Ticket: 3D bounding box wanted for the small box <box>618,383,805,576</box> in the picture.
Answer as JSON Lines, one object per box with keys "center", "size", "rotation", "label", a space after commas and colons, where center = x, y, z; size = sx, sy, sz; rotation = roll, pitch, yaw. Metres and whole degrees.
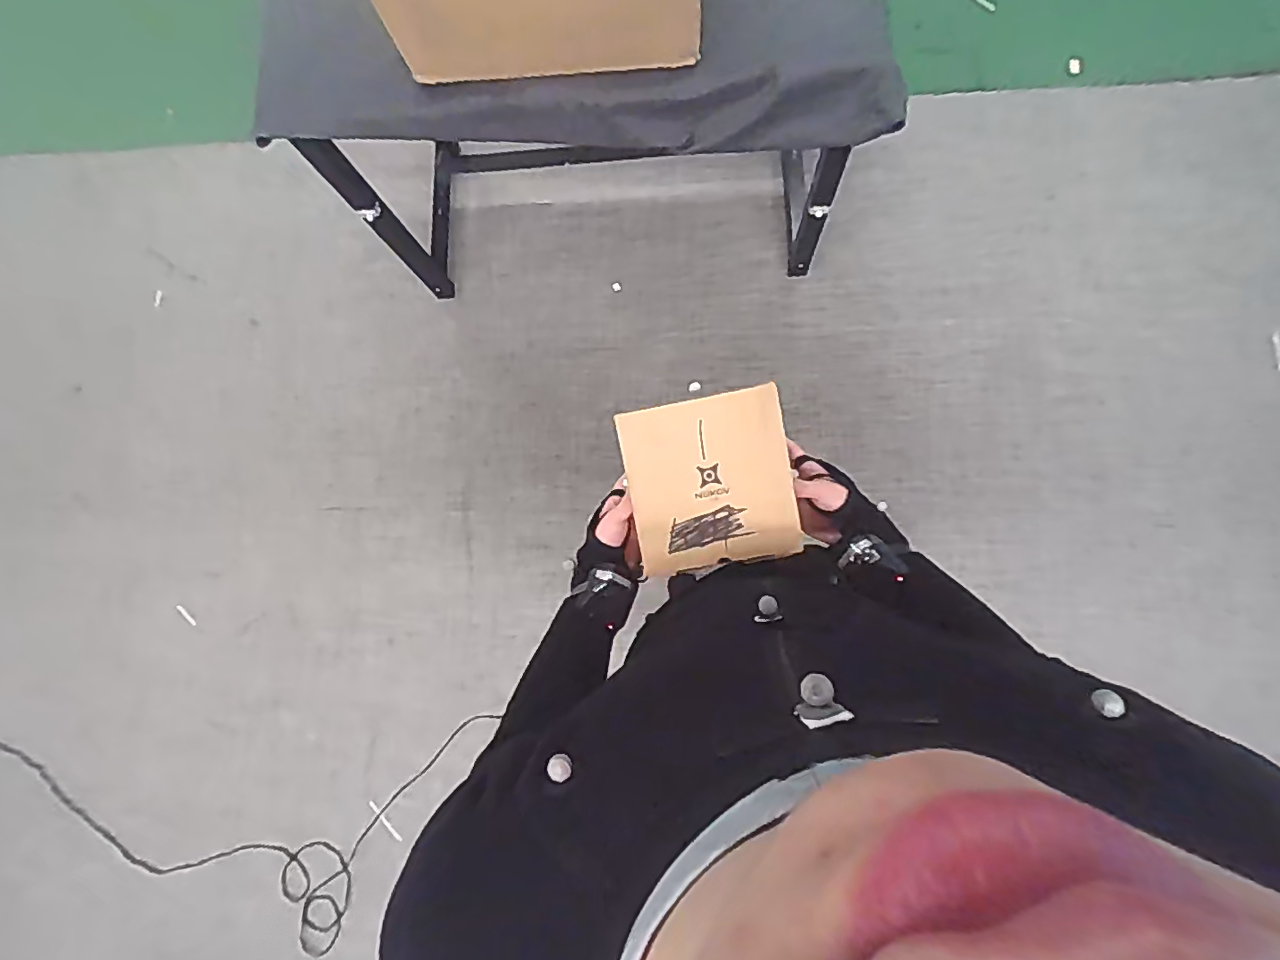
{"center": [0.080, -0.009, 0.623], "size": [0.168, 0.176, 0.179], "rotation": [-12, 97, 6], "label": "small box"}
